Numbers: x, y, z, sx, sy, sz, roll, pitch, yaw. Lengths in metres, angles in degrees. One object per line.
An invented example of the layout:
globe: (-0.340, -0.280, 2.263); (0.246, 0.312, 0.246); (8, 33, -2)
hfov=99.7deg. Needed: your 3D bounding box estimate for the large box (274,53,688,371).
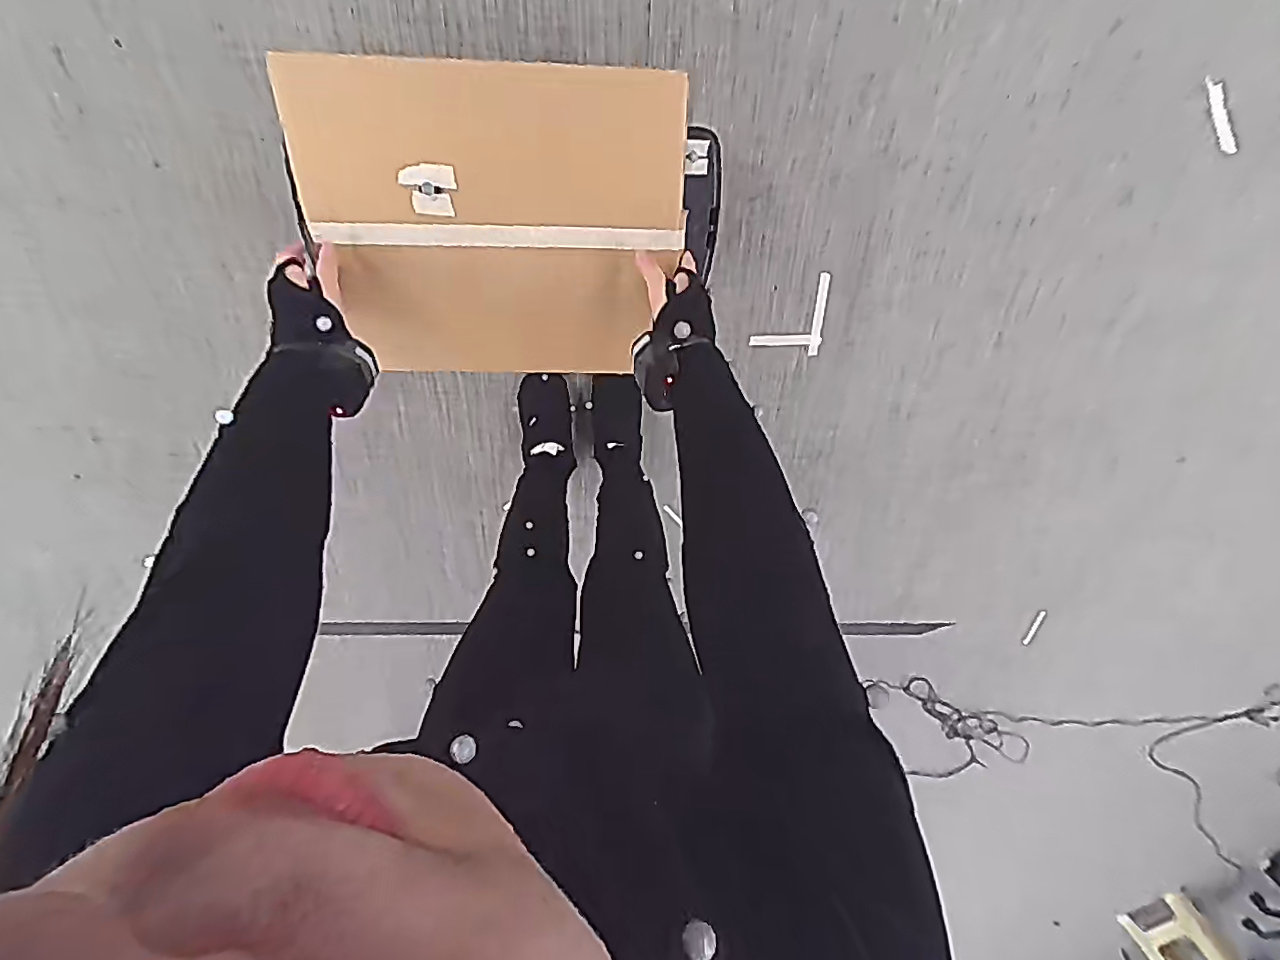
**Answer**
large box: (-0.156, -0.345, 0.719); (0.408, 0.320, 0.320); (0, 120, -3)
